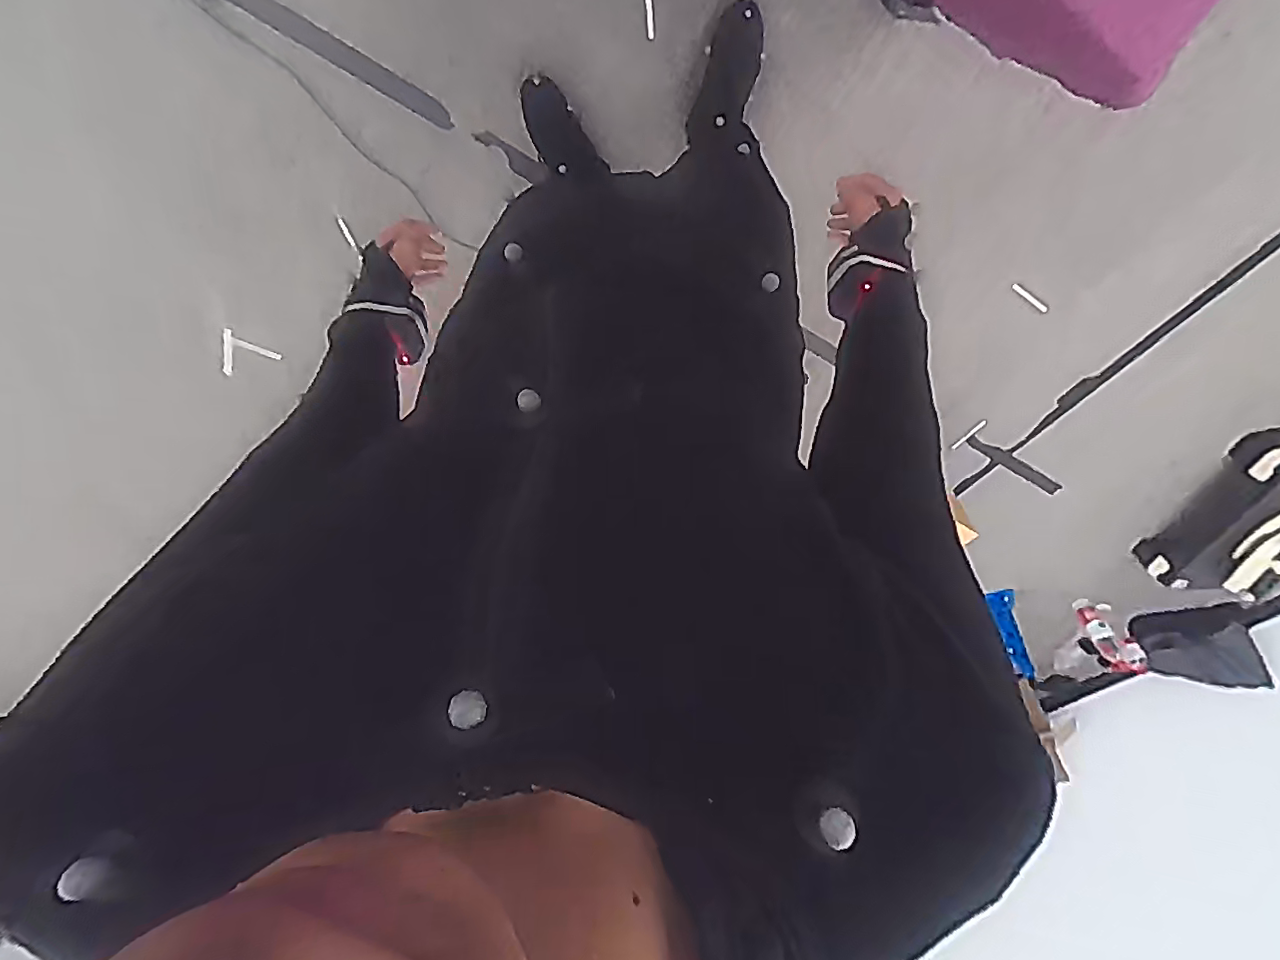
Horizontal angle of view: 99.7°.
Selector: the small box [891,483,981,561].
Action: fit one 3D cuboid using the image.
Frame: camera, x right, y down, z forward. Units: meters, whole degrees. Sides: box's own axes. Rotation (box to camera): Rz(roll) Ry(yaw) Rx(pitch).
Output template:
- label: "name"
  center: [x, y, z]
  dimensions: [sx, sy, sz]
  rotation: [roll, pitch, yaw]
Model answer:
- label: "small box"
  center: [0.978, 0.137, 1.799]
  dimensions: [0.179, 0.176, 0.168]
  rotation: [25, 129, -20]
